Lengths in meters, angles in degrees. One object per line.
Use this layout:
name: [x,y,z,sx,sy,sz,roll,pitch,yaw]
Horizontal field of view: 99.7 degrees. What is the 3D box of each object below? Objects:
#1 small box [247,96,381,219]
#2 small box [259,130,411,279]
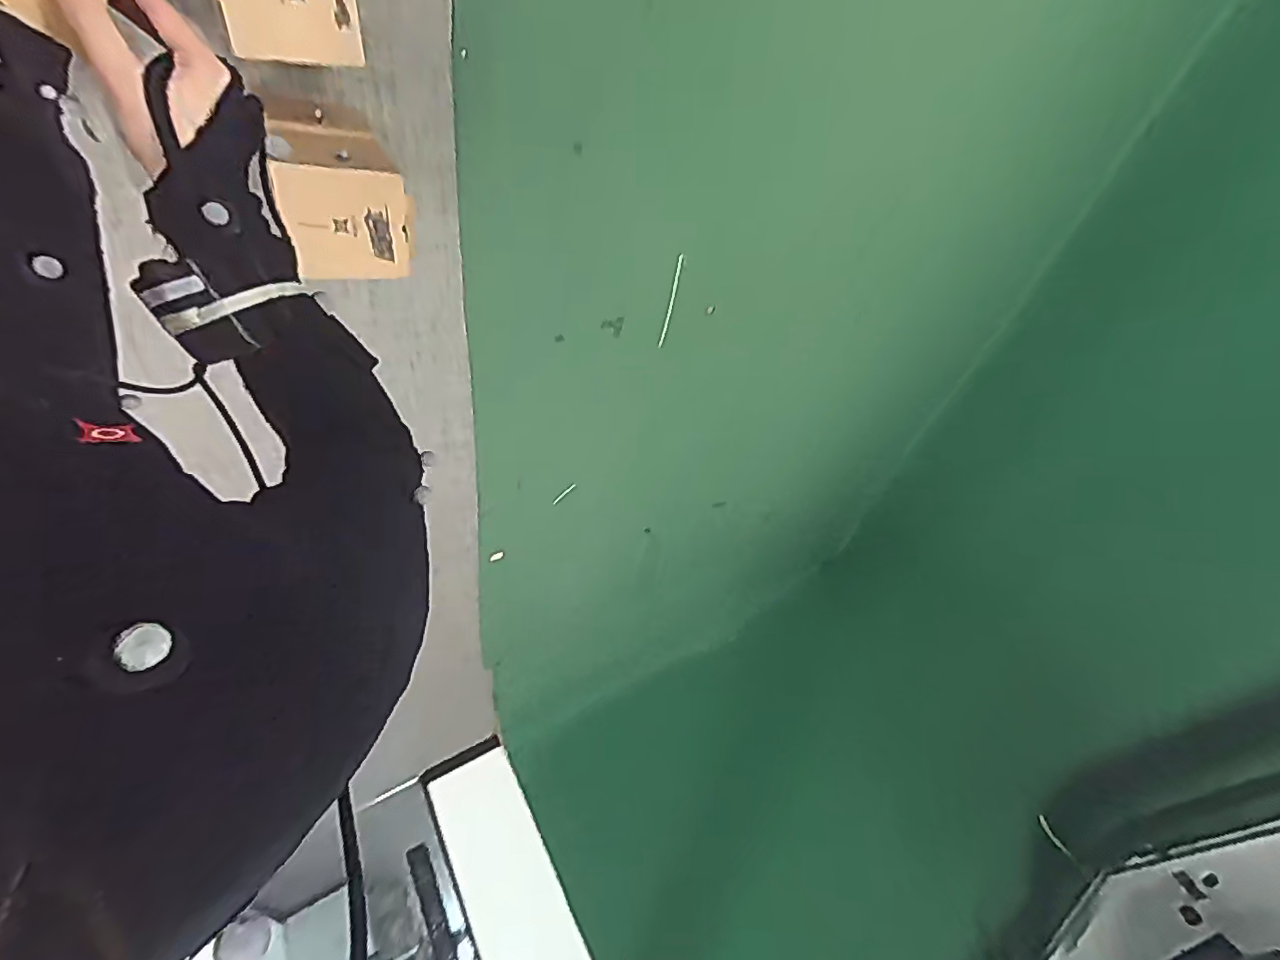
small box: [-0.567,-0.554,0.955,0.179,0.176,0.168,-13,139,-31]
small box: [-0.485,-0.440,0.869,0.179,0.176,0.168,-14,138,-31]
